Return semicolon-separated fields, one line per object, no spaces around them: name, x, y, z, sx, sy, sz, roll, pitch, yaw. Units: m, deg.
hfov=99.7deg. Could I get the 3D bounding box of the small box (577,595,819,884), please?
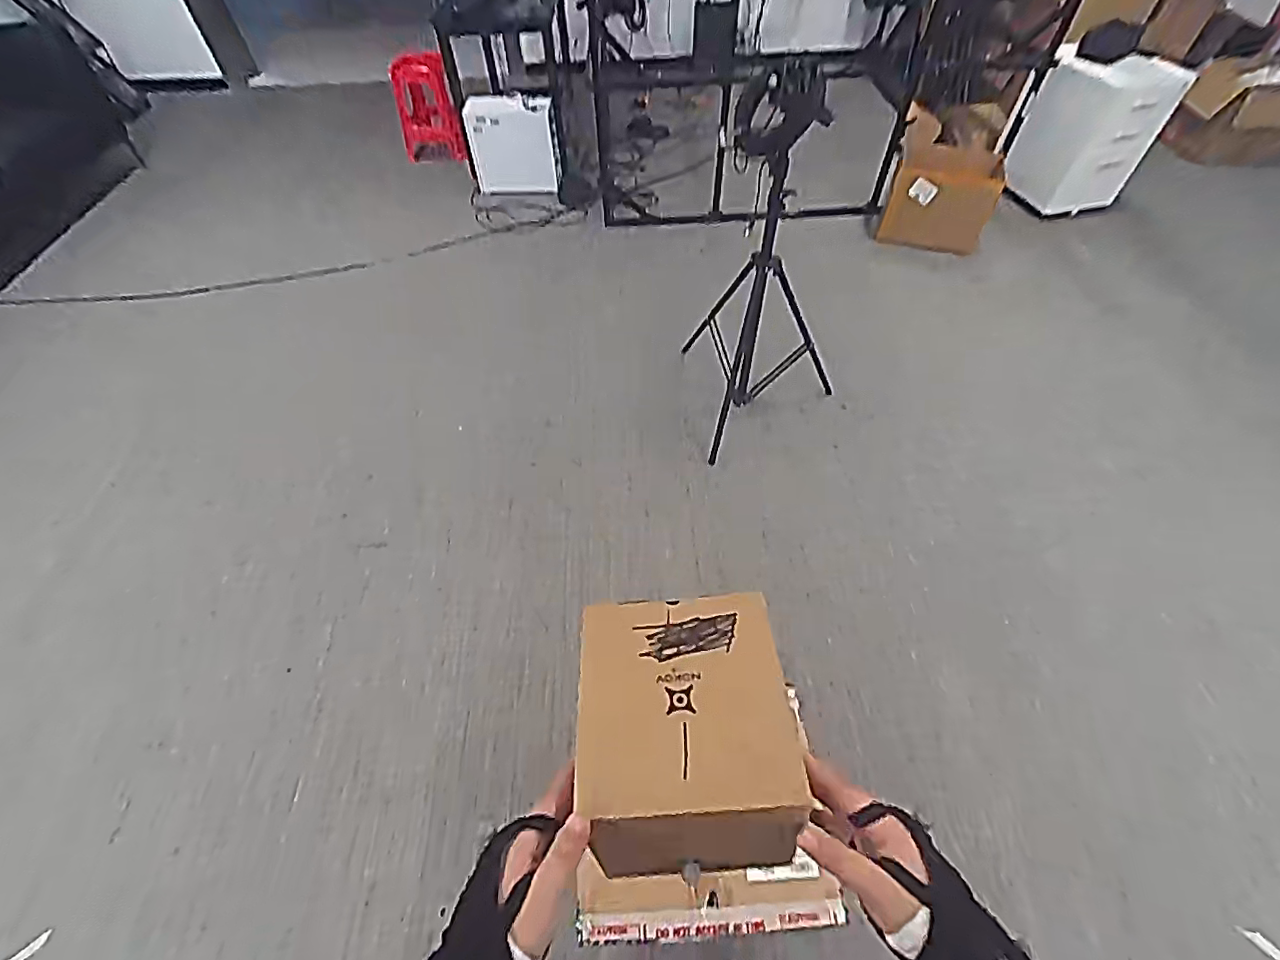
small box;0.045;0.226;0.475;0.168;0.176;0.179;-6;42;3
